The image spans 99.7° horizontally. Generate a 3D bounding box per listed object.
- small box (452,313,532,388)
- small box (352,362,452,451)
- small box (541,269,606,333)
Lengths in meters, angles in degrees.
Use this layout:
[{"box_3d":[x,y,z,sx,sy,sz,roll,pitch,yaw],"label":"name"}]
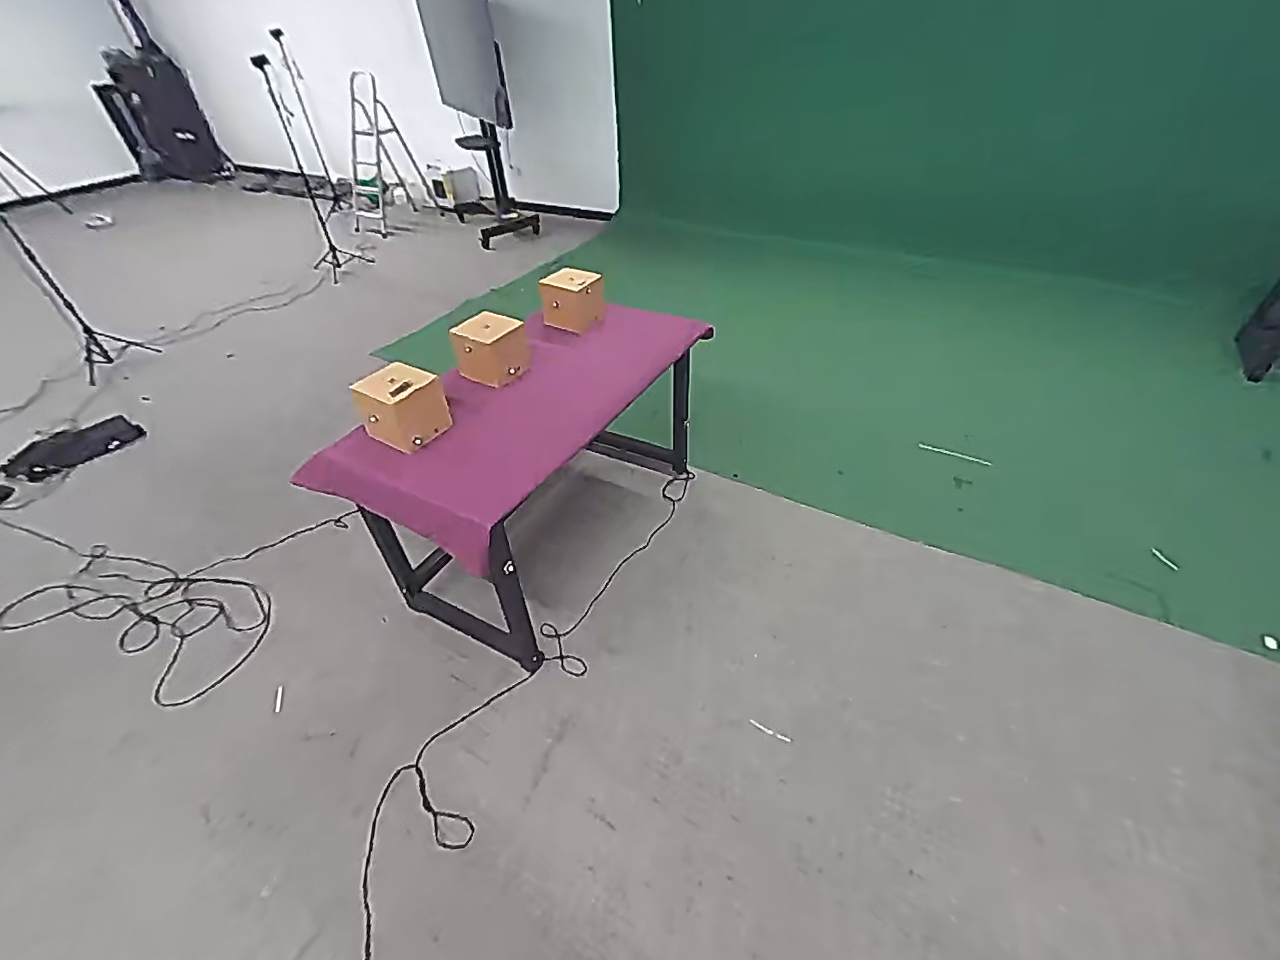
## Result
[{"box_3d":[-0.478,-0.423,1.771,0.179,0.176,0.168,23,48,25],"label":"small box"},{"box_3d":[-0.660,-0.204,1.524,0.179,0.176,0.168,21,46,24],"label":"small box"},{"box_3d":[-0.245,-0.674,2.041,0.179,0.176,0.168,21,47,24],"label":"small box"}]
